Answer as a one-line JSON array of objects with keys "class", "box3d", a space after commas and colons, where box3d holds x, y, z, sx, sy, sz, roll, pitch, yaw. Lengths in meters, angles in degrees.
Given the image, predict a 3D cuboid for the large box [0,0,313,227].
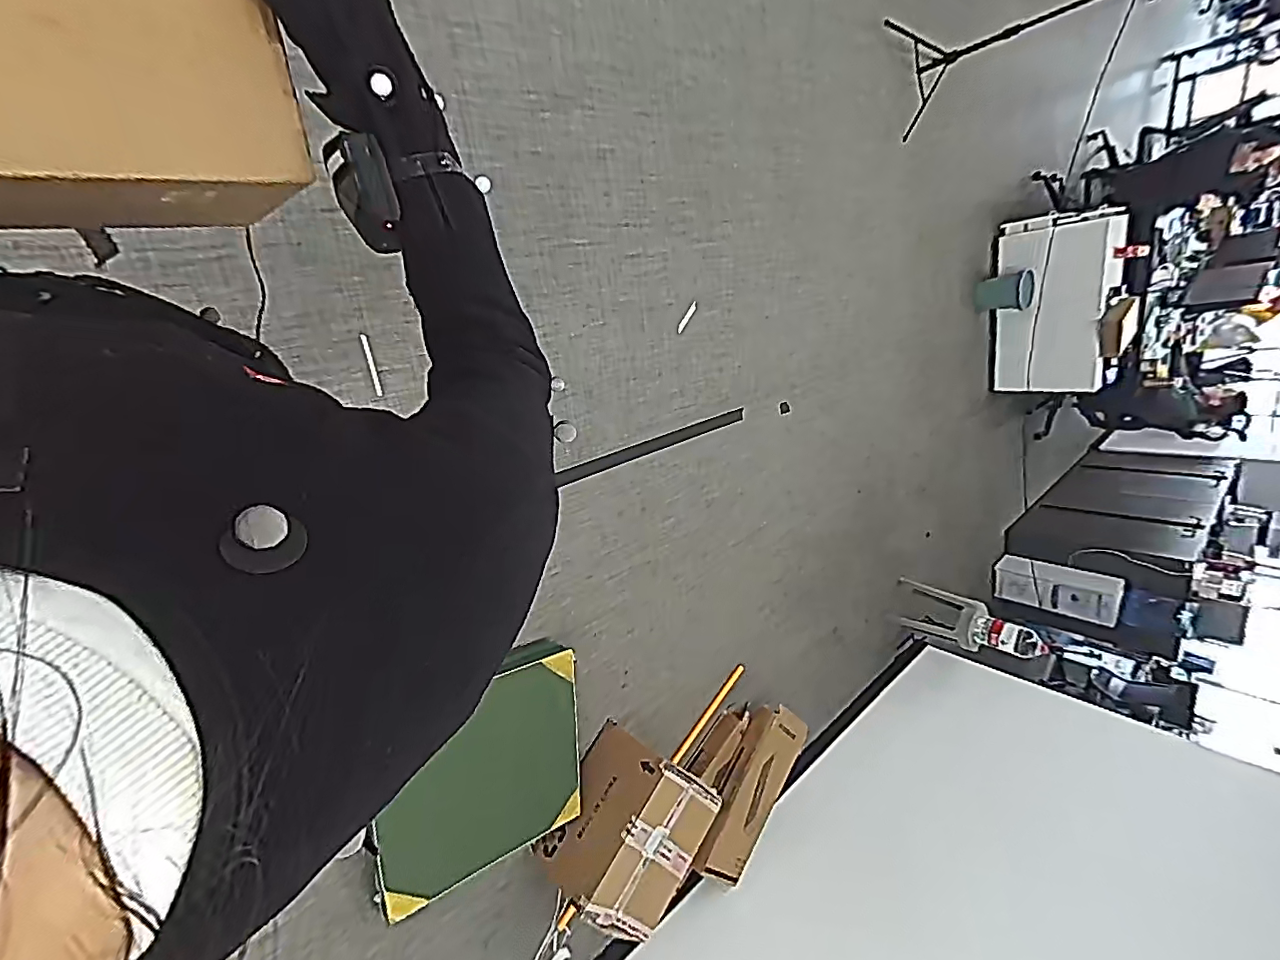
[{"class": "large box", "box3d": [-0.492, -0.330, 0.319, 0.408, 0.320, 0.320, -23, 120, -37]}]
